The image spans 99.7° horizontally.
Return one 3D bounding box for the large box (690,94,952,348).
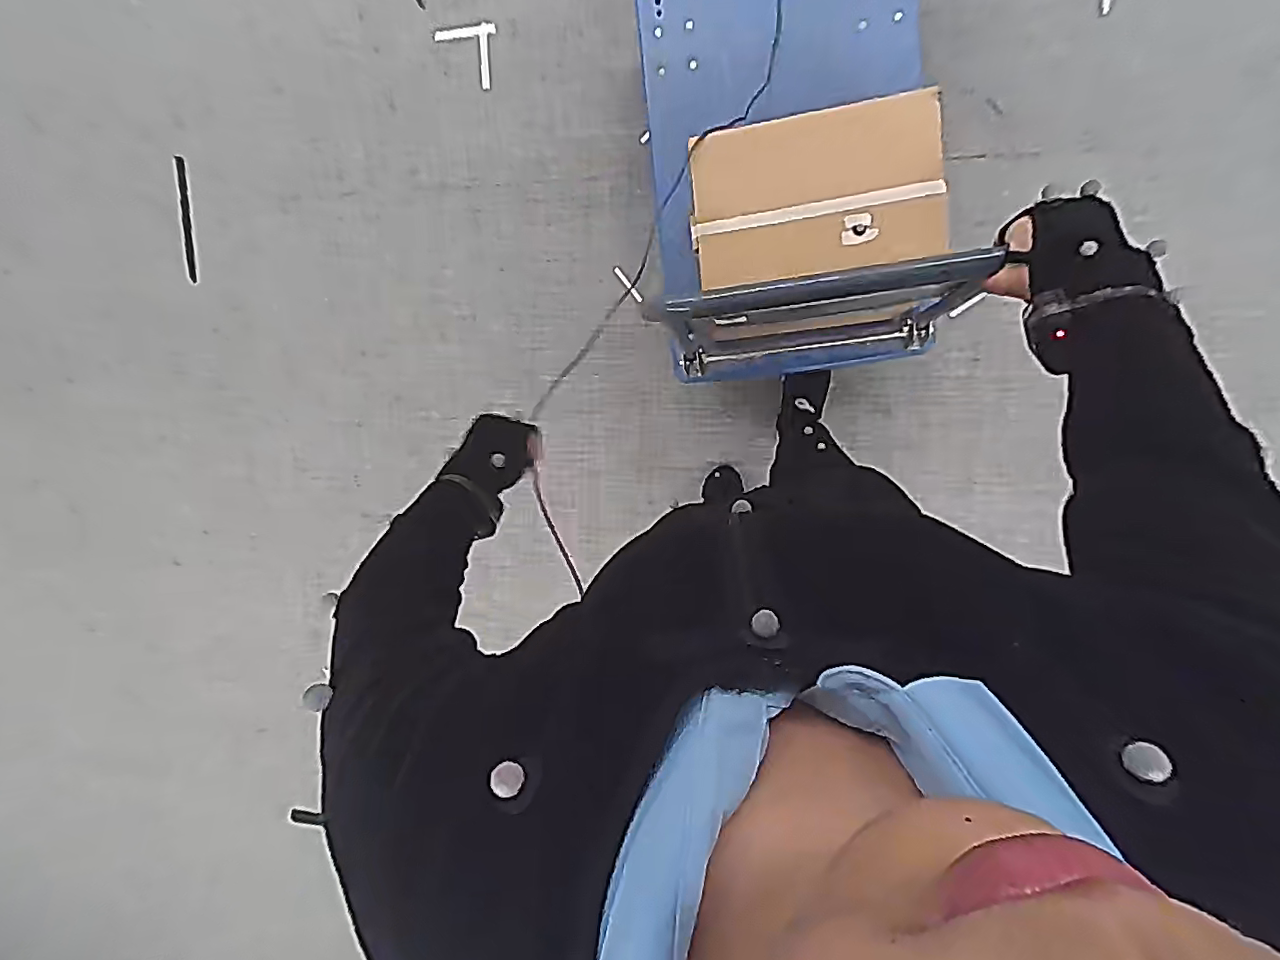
[{"bbox_3d":[0.322,-0.456,1.048,0.408,0.320,0.320,-5,97,10],"label":"large box"}]
